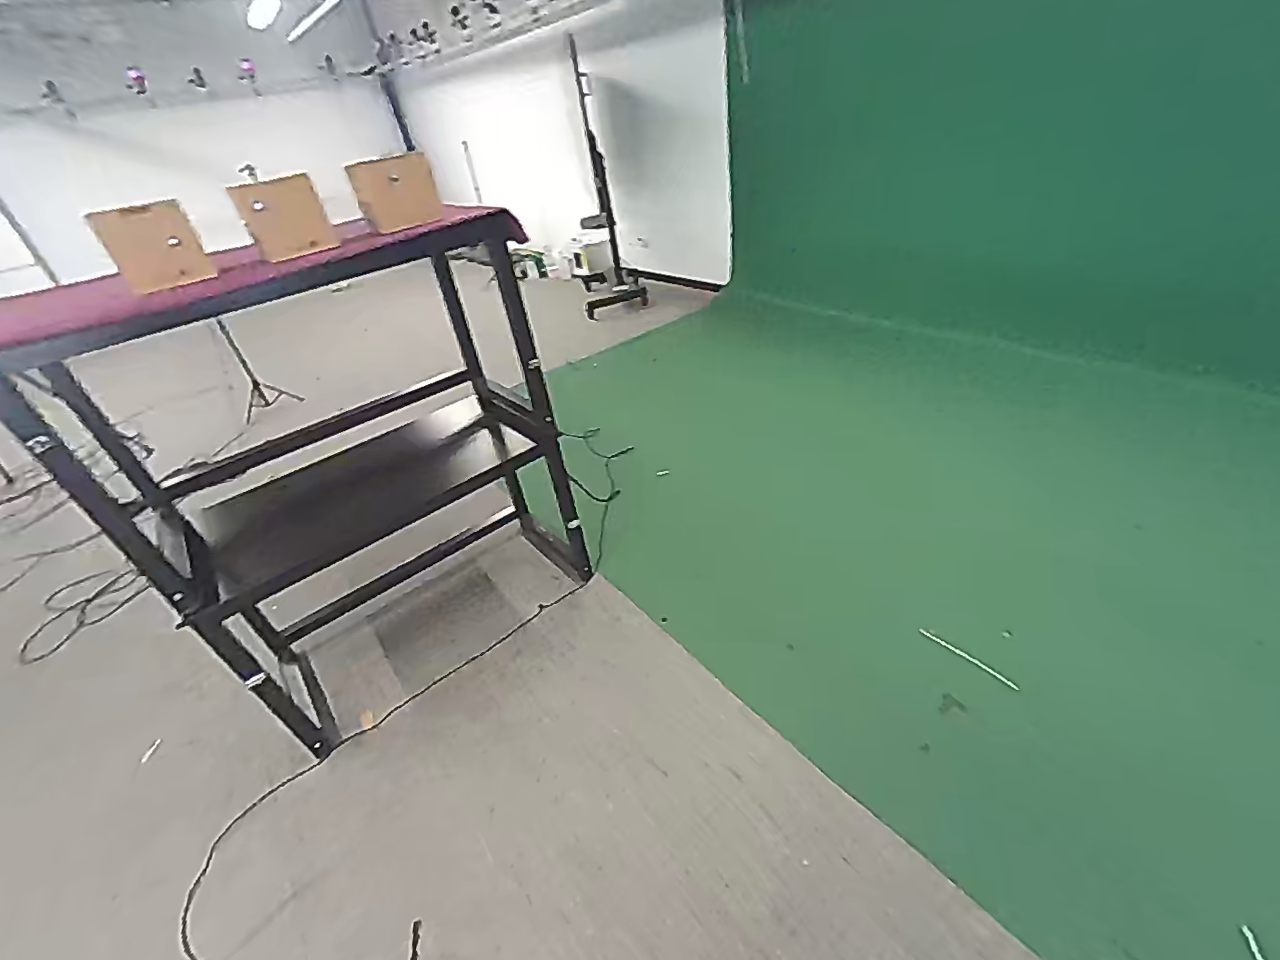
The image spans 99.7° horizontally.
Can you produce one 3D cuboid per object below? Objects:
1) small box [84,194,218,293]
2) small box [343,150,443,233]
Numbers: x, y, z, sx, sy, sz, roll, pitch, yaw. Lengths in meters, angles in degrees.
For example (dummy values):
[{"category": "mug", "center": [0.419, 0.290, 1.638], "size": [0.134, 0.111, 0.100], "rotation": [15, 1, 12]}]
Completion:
[{"category": "small box", "center": [-1.089, -0.532, 1.219], "size": [0.168, 0.176, 0.179], "rotation": [-29, 39, -27]}, {"category": "small box", "center": [-0.670, -0.785, 1.475], "size": [0.179, 0.176, 0.168], "rotation": [-31, 40, -27]}]
